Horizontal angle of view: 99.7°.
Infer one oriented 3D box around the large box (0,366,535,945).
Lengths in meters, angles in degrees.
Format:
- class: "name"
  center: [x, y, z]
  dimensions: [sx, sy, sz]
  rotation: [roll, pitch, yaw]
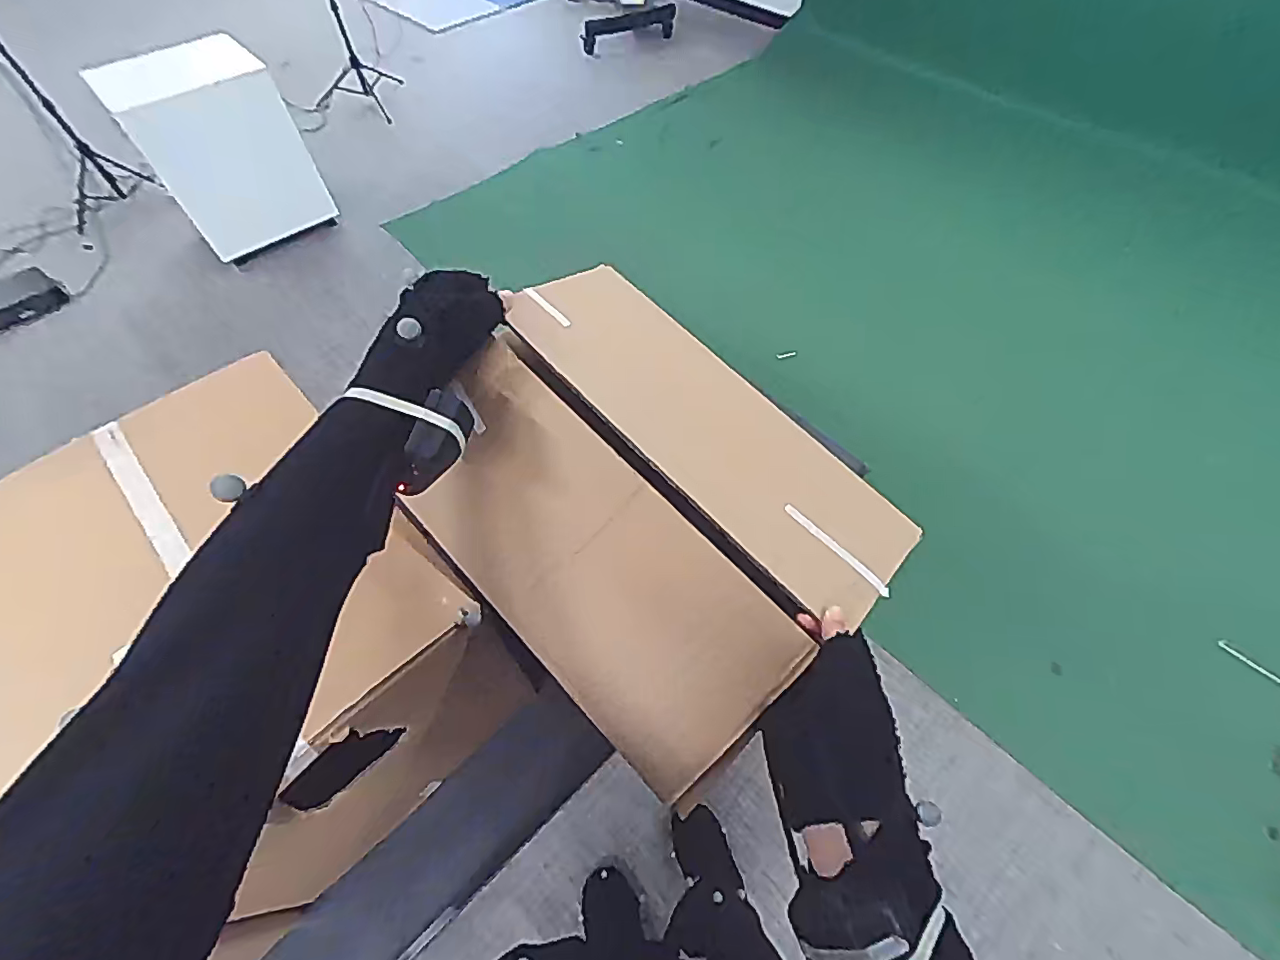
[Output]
- class: "large box"
  center: [-0.372, 0.158, 0.582]
  dimensions: [0.320, 0.320, 0.408]
  rotation: [-40, 66, -22]
